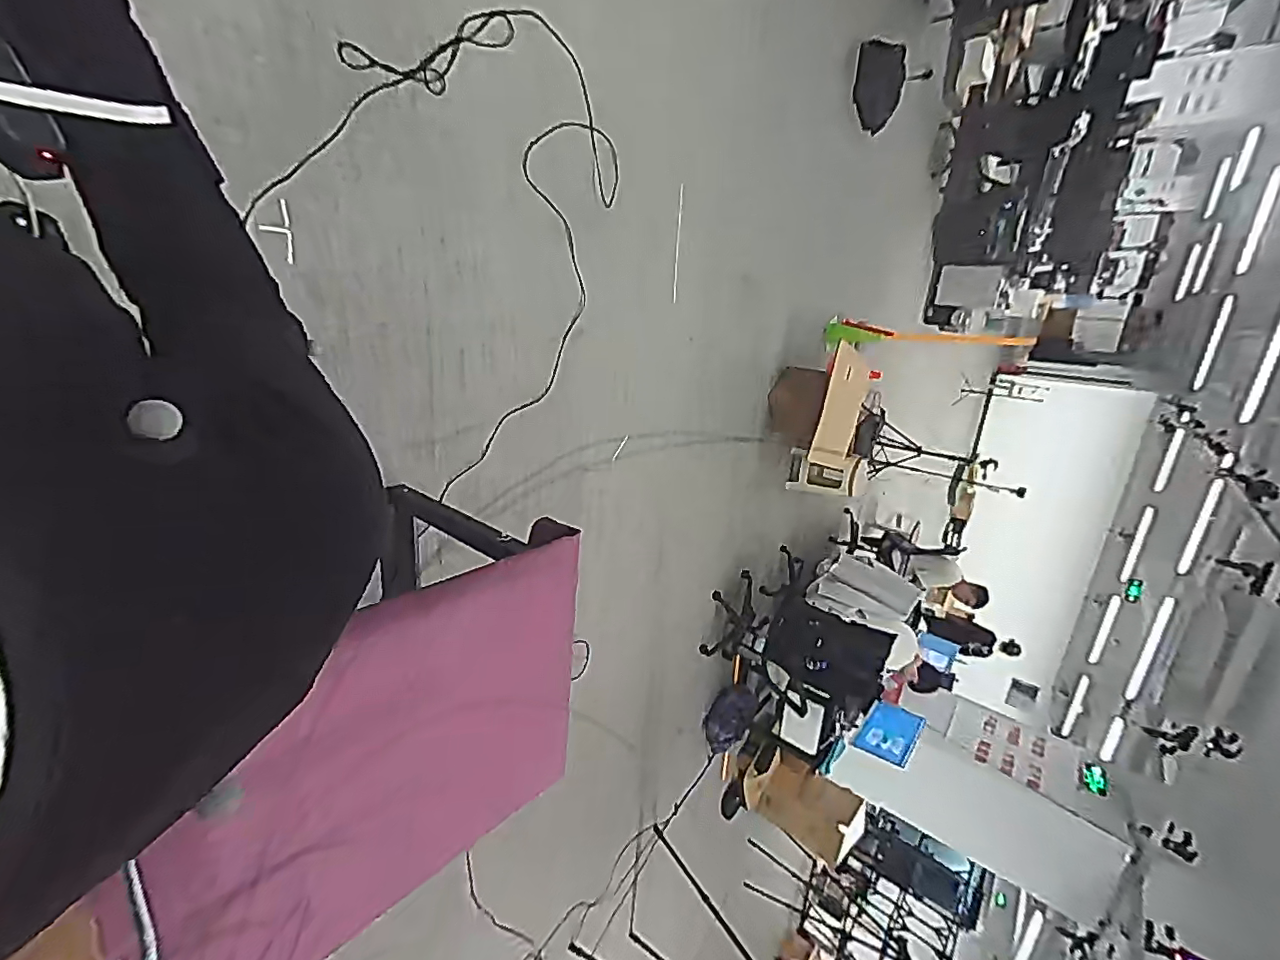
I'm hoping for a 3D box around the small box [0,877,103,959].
[{"bbox_3d":[-0.666,0.557,0.551,0.168,0.176,0.179,-9,112,-49],"label":"small box"}]
